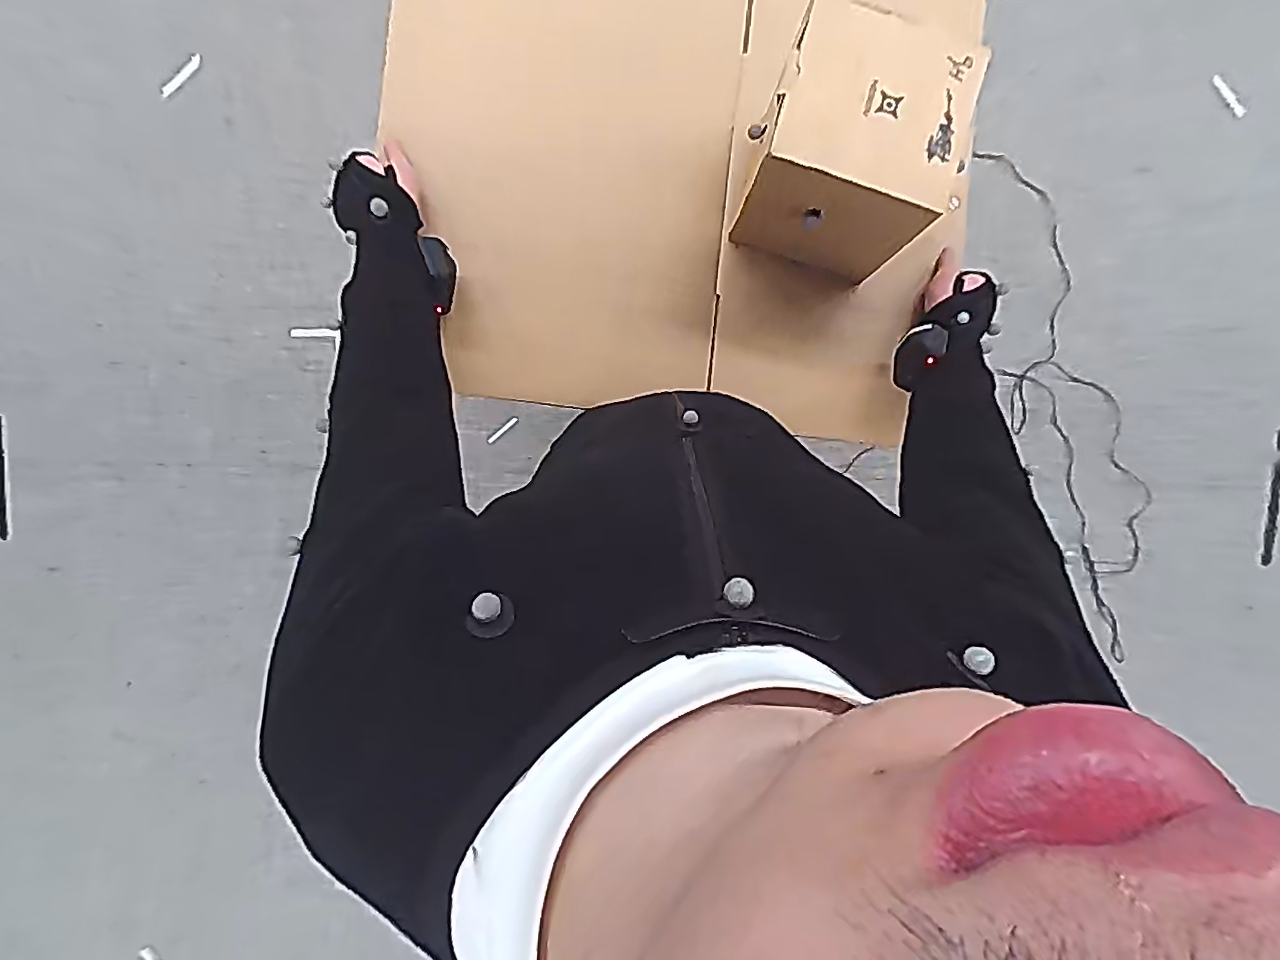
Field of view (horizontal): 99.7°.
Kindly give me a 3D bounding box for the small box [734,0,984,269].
[{"bbox_3d":[0.215,-0.353,0.583,0.179,0.176,0.168,17,89,-2],"label":"small box"}]
